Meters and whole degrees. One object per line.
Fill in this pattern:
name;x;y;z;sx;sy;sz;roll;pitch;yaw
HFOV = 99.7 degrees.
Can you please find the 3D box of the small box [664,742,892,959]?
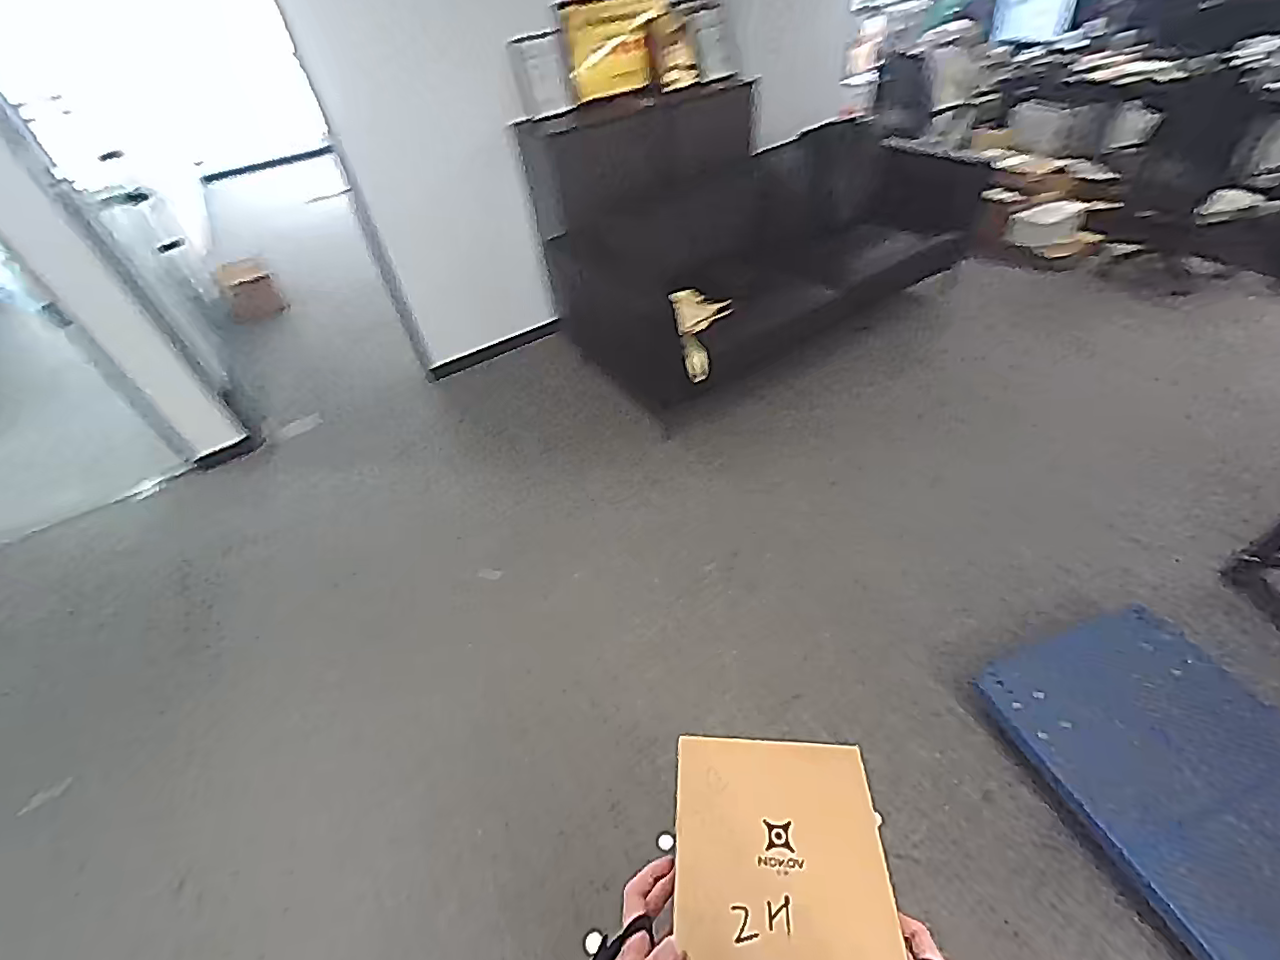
small box;0.108;0.369;0.491;0.168;0.176;0.179;1;40;5
